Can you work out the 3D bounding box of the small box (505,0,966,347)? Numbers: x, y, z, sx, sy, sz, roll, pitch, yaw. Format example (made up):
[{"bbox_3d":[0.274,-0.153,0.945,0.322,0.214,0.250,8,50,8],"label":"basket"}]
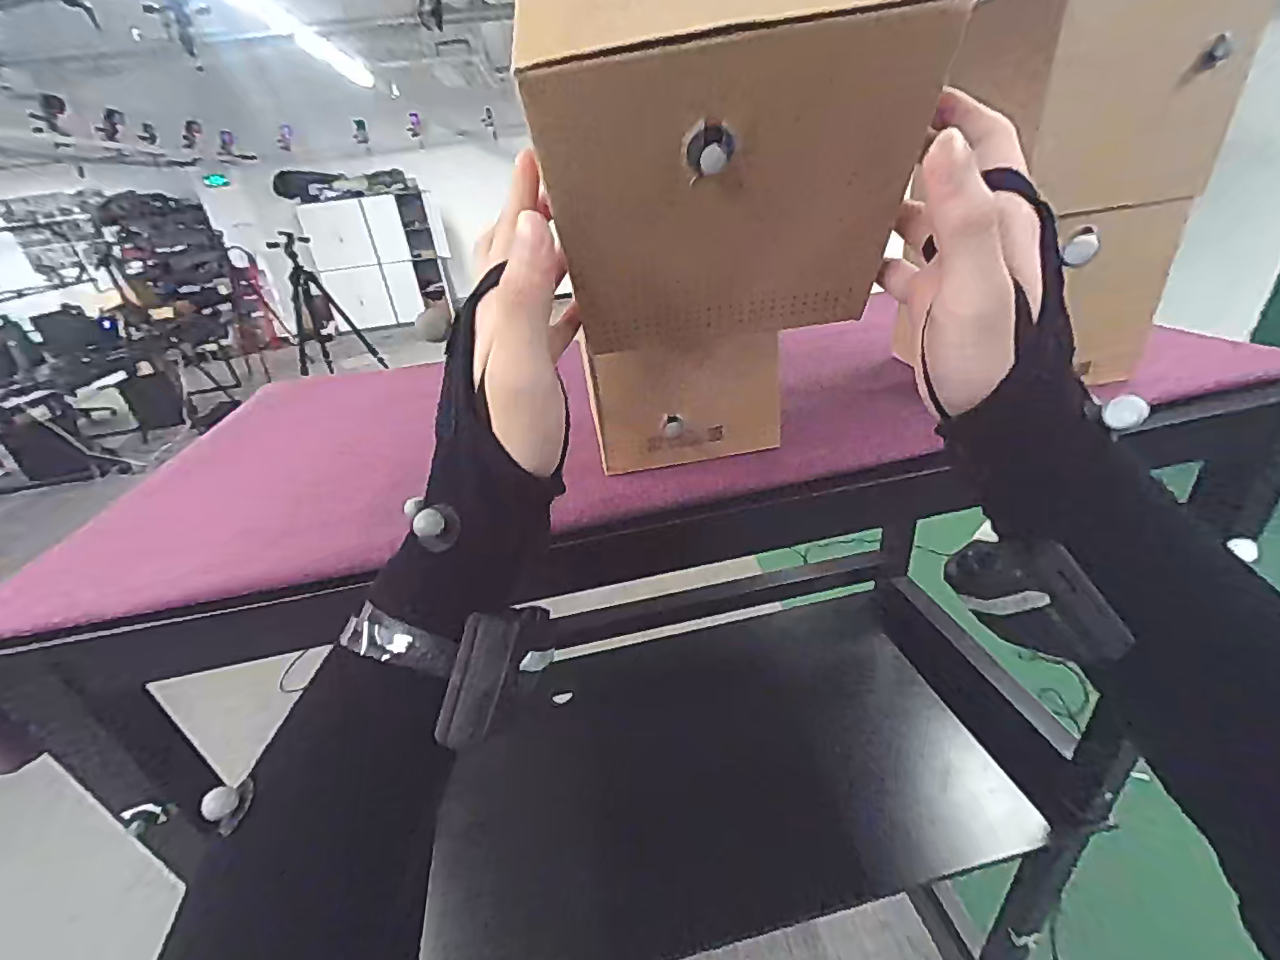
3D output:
[{"bbox_3d":[0.038,-0.194,0.307,0.179,0.176,0.168,-6,64,4],"label":"small box"}]

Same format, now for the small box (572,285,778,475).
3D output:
[{"bbox_3d":[0.027,-0.123,0.530,0.168,0.176,0.179,-11,28,-3],"label":"small box"}]

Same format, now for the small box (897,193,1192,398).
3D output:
[{"bbox_3d":[0.398,-0.199,0.575,0.168,0.176,0.179,-10,29,-2],"label":"small box"}]
